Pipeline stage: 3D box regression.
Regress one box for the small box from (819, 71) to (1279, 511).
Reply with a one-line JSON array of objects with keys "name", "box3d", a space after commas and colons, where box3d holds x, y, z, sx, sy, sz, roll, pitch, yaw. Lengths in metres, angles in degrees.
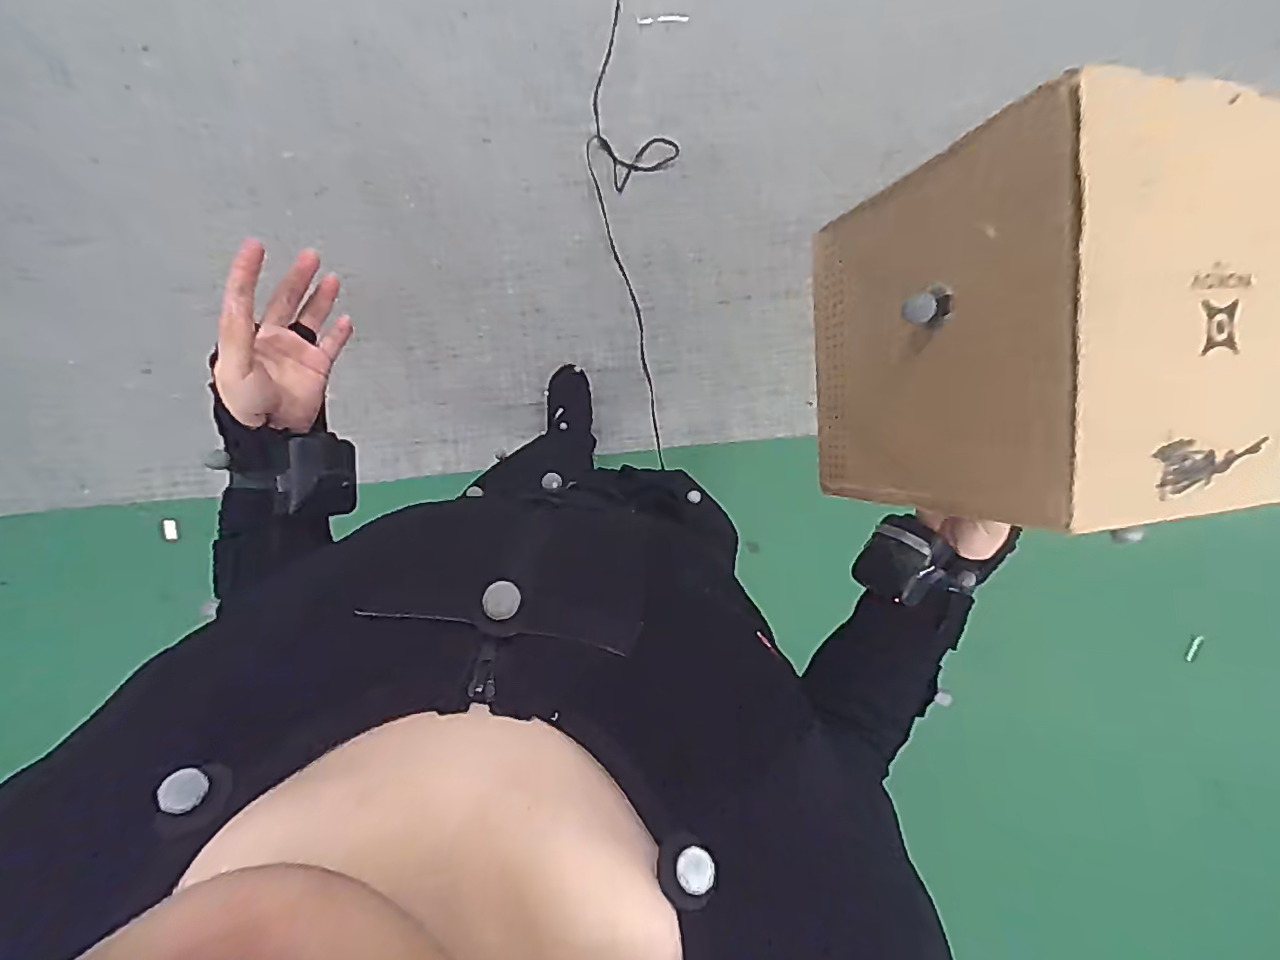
[{"name": "small box", "box3d": [0.221, -0.083, 0.312, 0.168, 0.176, 0.179, -6, 94, -15]}]
